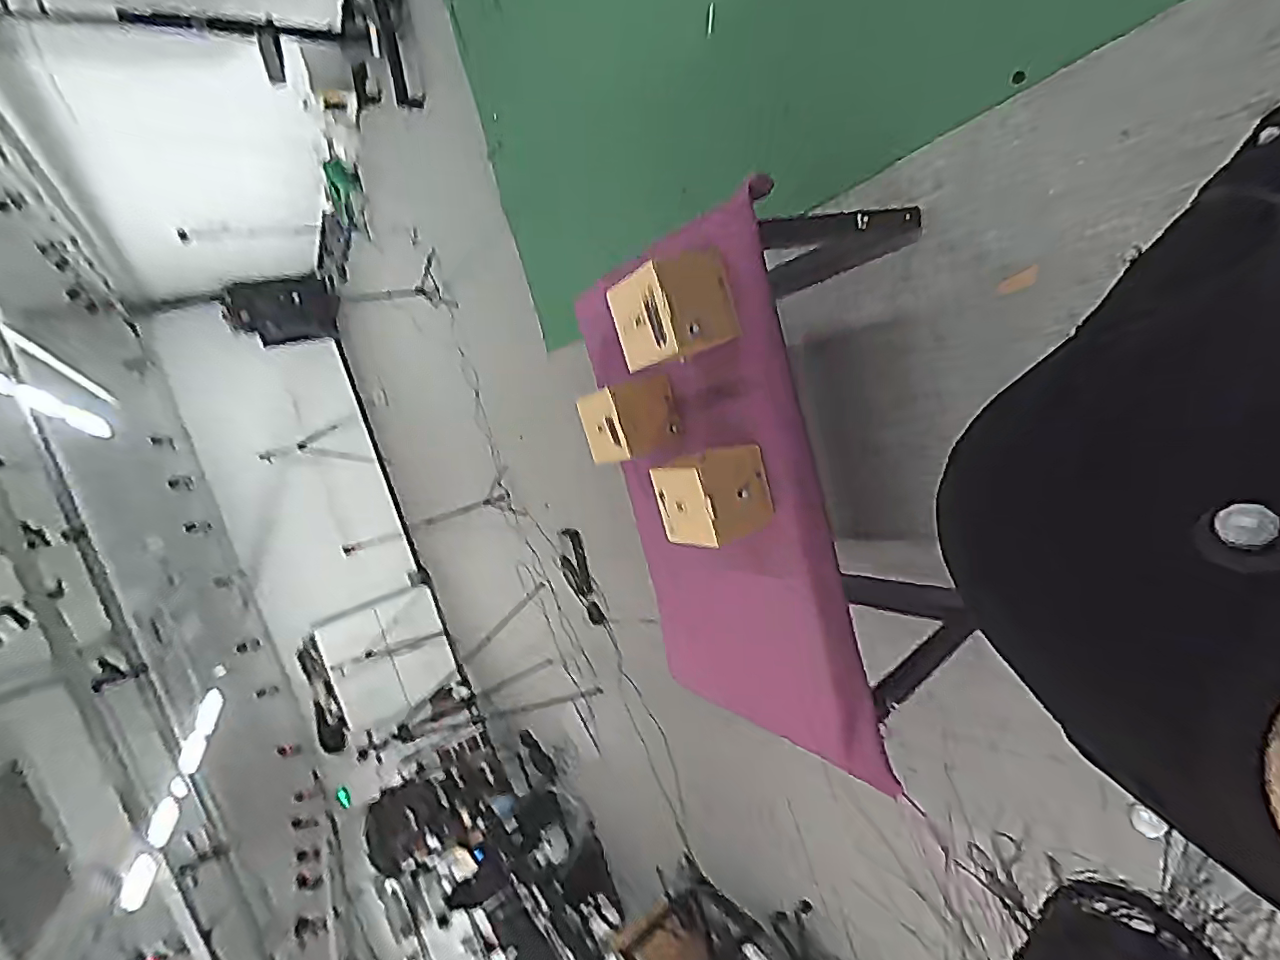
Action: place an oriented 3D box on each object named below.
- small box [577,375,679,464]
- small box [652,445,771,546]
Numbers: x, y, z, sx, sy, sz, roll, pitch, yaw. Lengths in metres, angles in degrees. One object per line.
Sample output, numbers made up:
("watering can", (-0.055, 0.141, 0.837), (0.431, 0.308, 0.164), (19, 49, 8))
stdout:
("small box", (-0.022, -0.147, 1.318), (0.179, 0.176, 0.168), (-6, 103, 58))
("small box", (0.157, 0.029, 1.150), (0.179, 0.176, 0.168), (-2, 106, 58))
